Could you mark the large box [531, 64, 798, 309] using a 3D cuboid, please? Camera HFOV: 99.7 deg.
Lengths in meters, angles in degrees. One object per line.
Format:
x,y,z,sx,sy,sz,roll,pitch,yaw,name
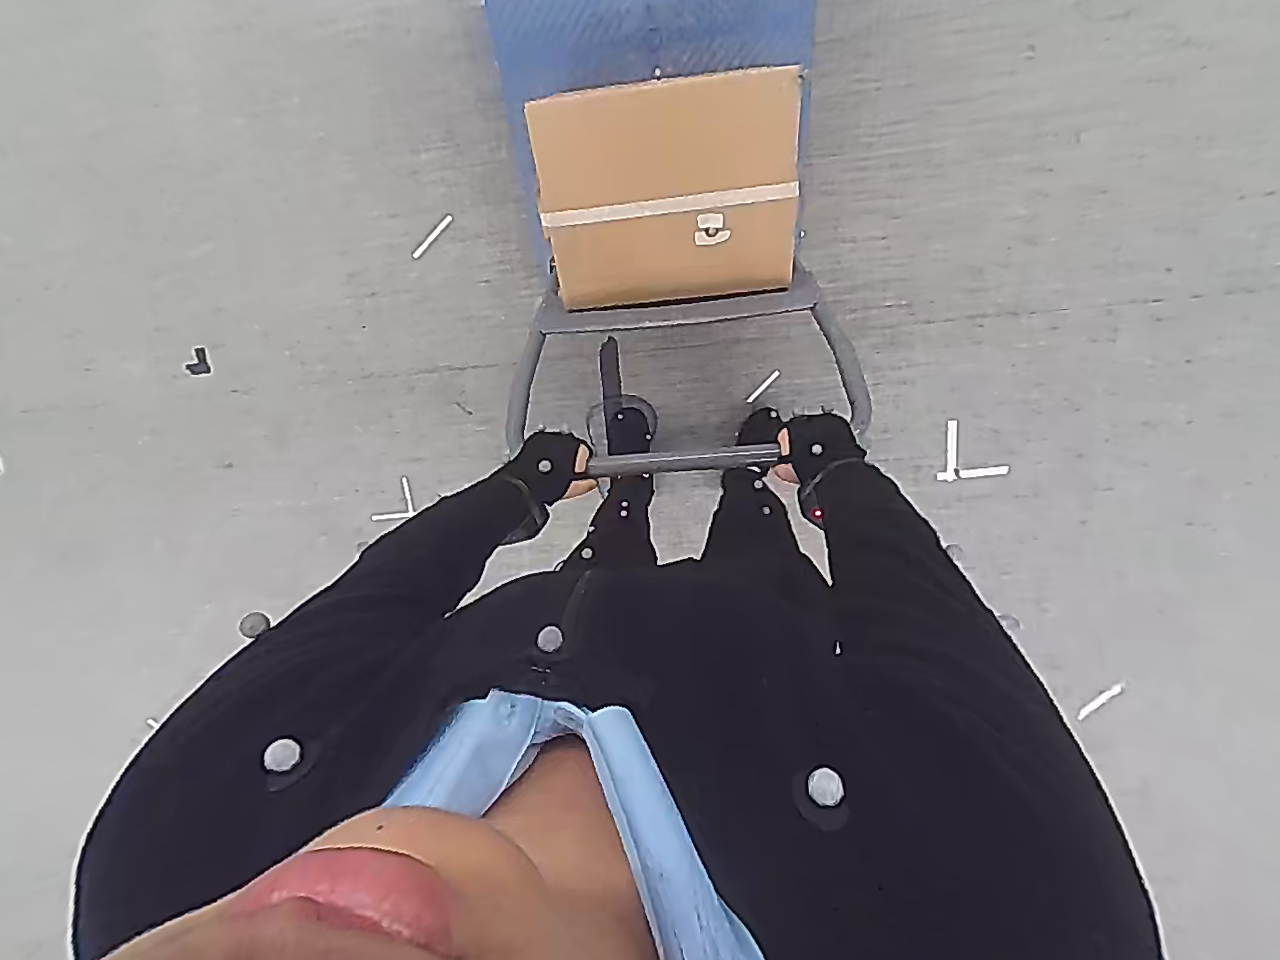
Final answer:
0.051,-0.541,0.999,0.408,0.320,0.320,-6,127,5,large box
